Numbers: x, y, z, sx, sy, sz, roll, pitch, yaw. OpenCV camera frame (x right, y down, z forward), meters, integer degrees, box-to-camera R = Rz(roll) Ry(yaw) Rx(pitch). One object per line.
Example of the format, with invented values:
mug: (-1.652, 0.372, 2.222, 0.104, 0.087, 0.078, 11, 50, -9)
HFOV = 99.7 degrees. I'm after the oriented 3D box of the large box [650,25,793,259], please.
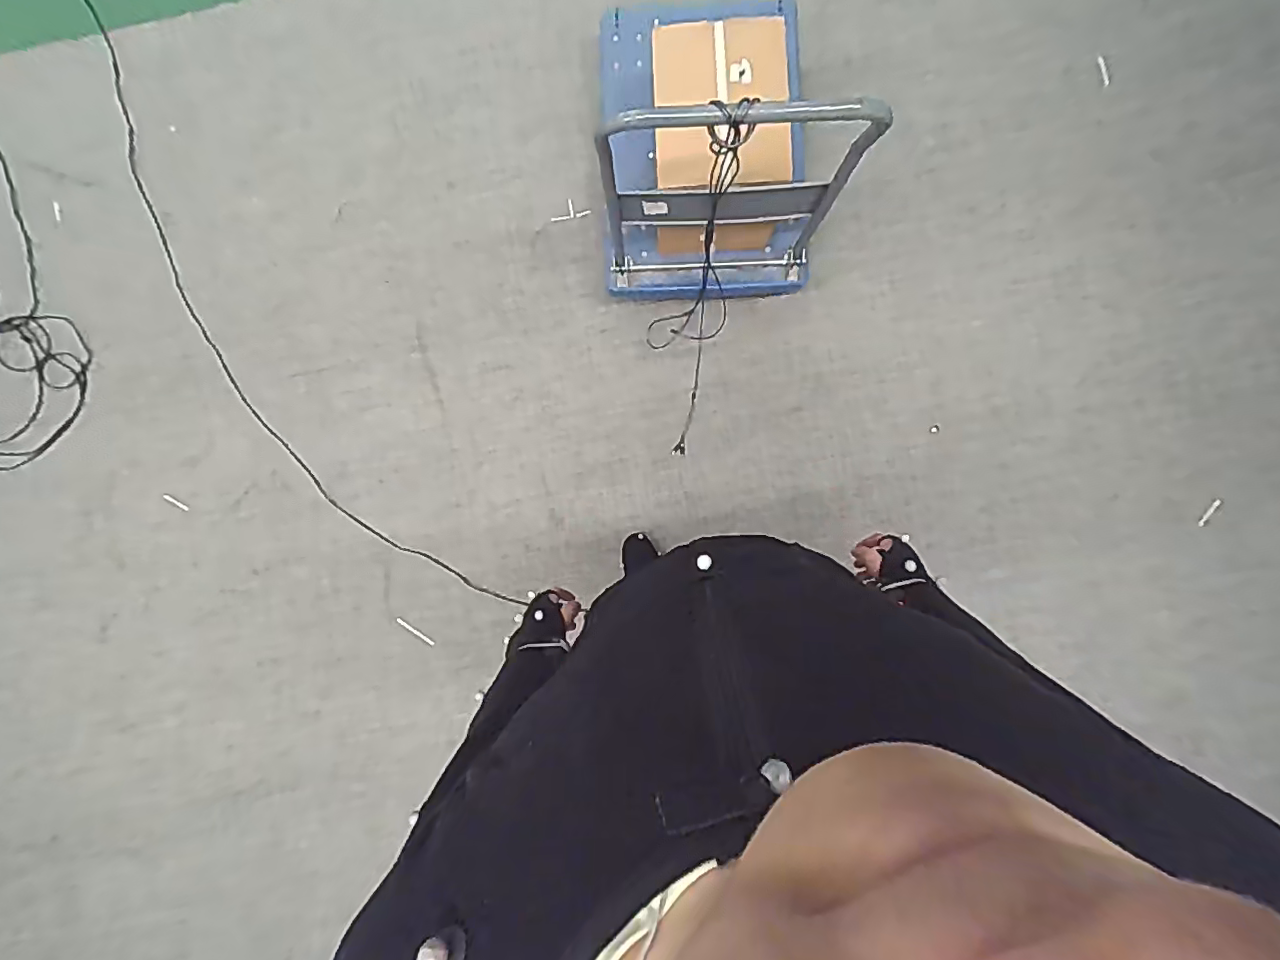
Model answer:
large box: (0.194, -0.842, 1.395, 0.320, 0.320, 0.408, -2, 85, 2)
